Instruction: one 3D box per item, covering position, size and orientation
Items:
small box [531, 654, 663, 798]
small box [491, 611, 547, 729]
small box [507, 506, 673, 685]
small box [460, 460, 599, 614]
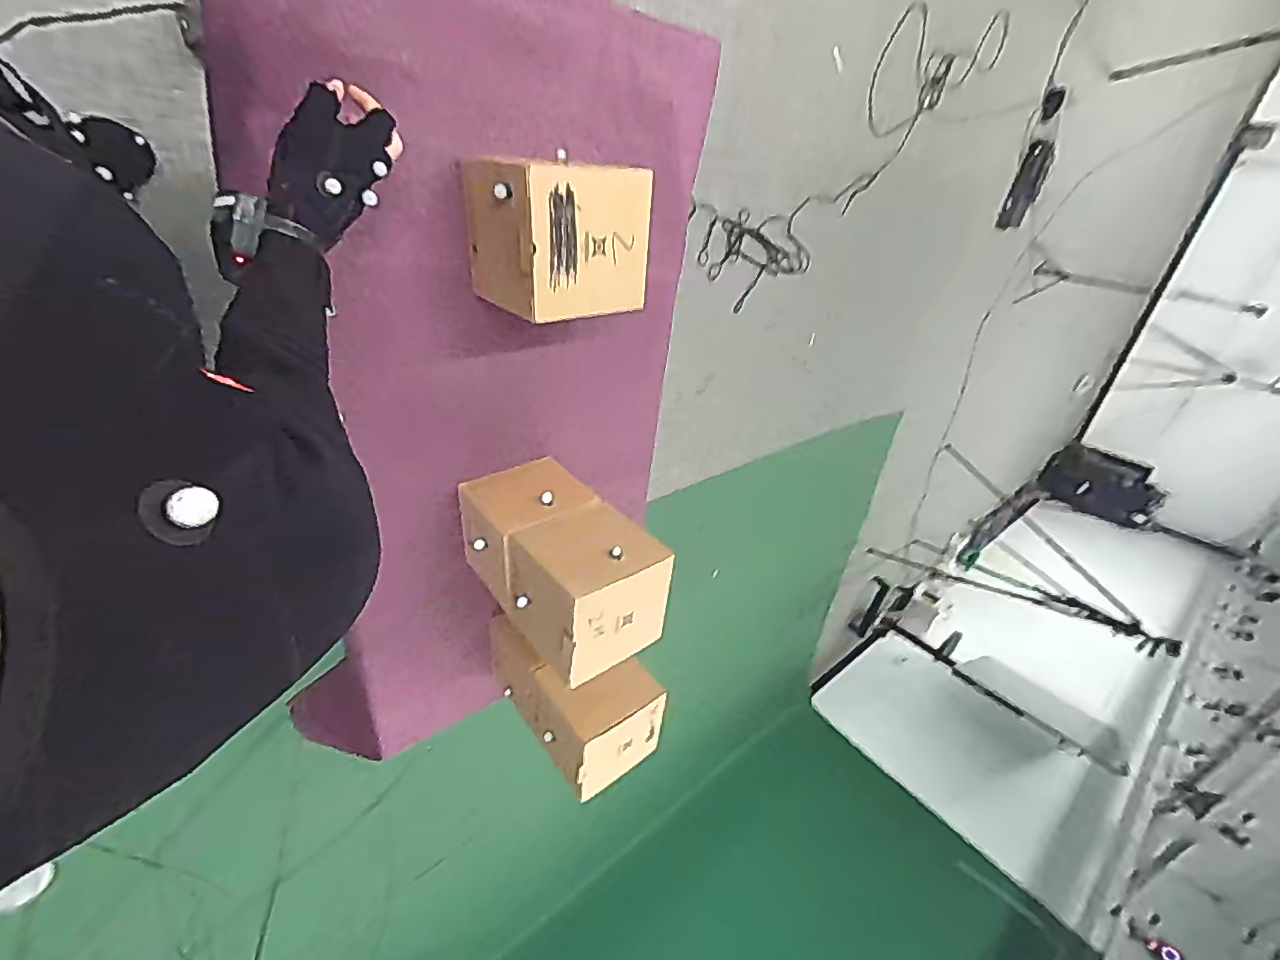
[{"bbox_3d":[-0.085,0.419,0.983,0.179,0.176,0.168,-17,128,-36],"label":"small box"},{"bbox_3d":[-0.189,0.352,1.091,0.179,0.176,0.168,-17,128,-37],"label":"small box"},{"bbox_3d":[-0.079,0.159,0.811,0.179,0.176,0.168,-17,127,-37],"label":"small box"},{"bbox_3d":[-0.189,0.086,0.910,0.179,0.176,0.168,-20,129,-36],"label":"small box"}]
